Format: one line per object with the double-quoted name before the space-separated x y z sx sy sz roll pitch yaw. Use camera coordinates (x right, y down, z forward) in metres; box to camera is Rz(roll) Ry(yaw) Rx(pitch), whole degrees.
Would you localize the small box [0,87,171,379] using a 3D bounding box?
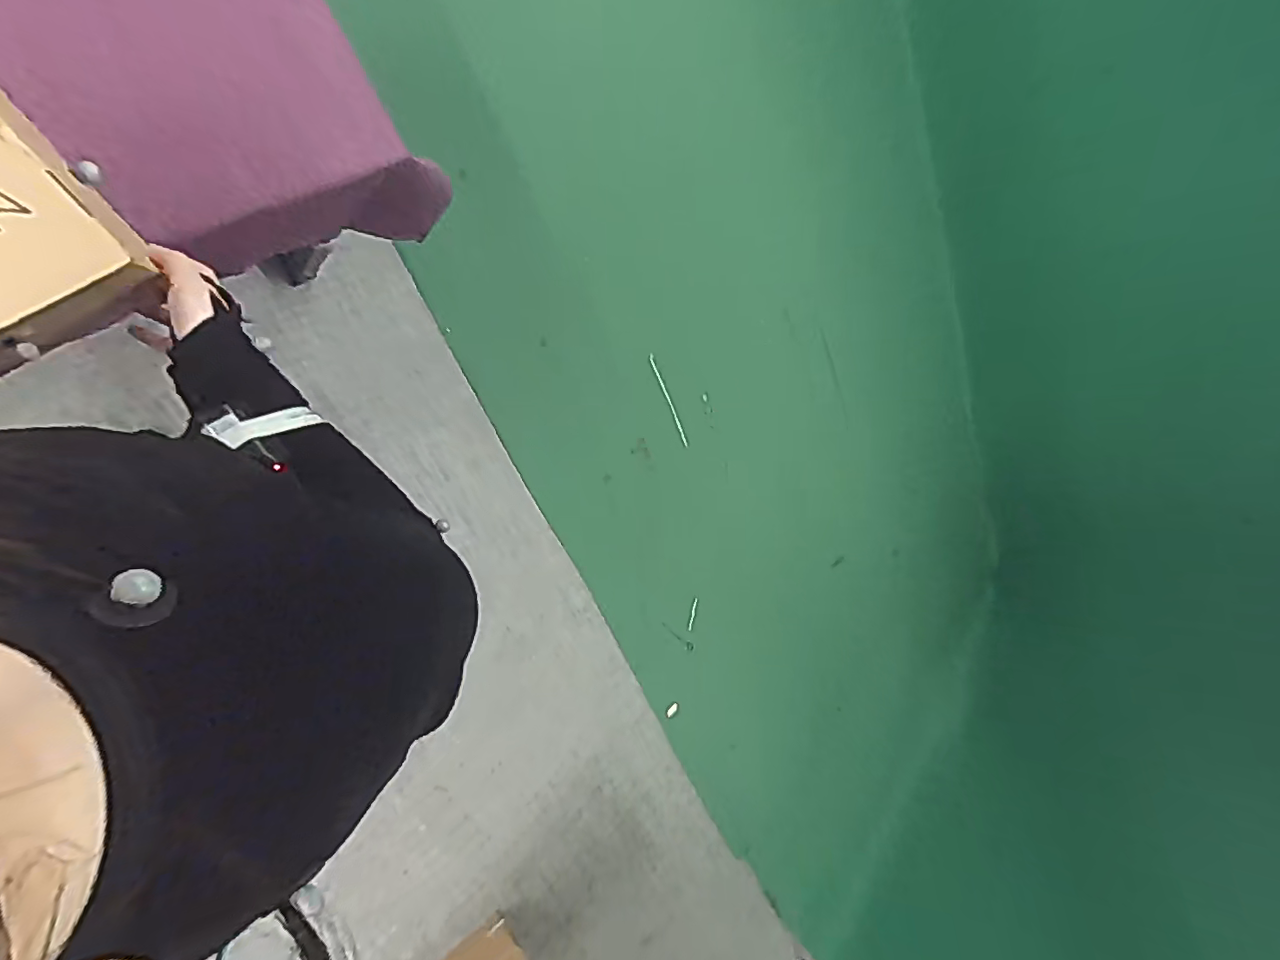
"small box" -0.481 -0.172 0.372 0.179 0.176 0.168 -41 121 -17
